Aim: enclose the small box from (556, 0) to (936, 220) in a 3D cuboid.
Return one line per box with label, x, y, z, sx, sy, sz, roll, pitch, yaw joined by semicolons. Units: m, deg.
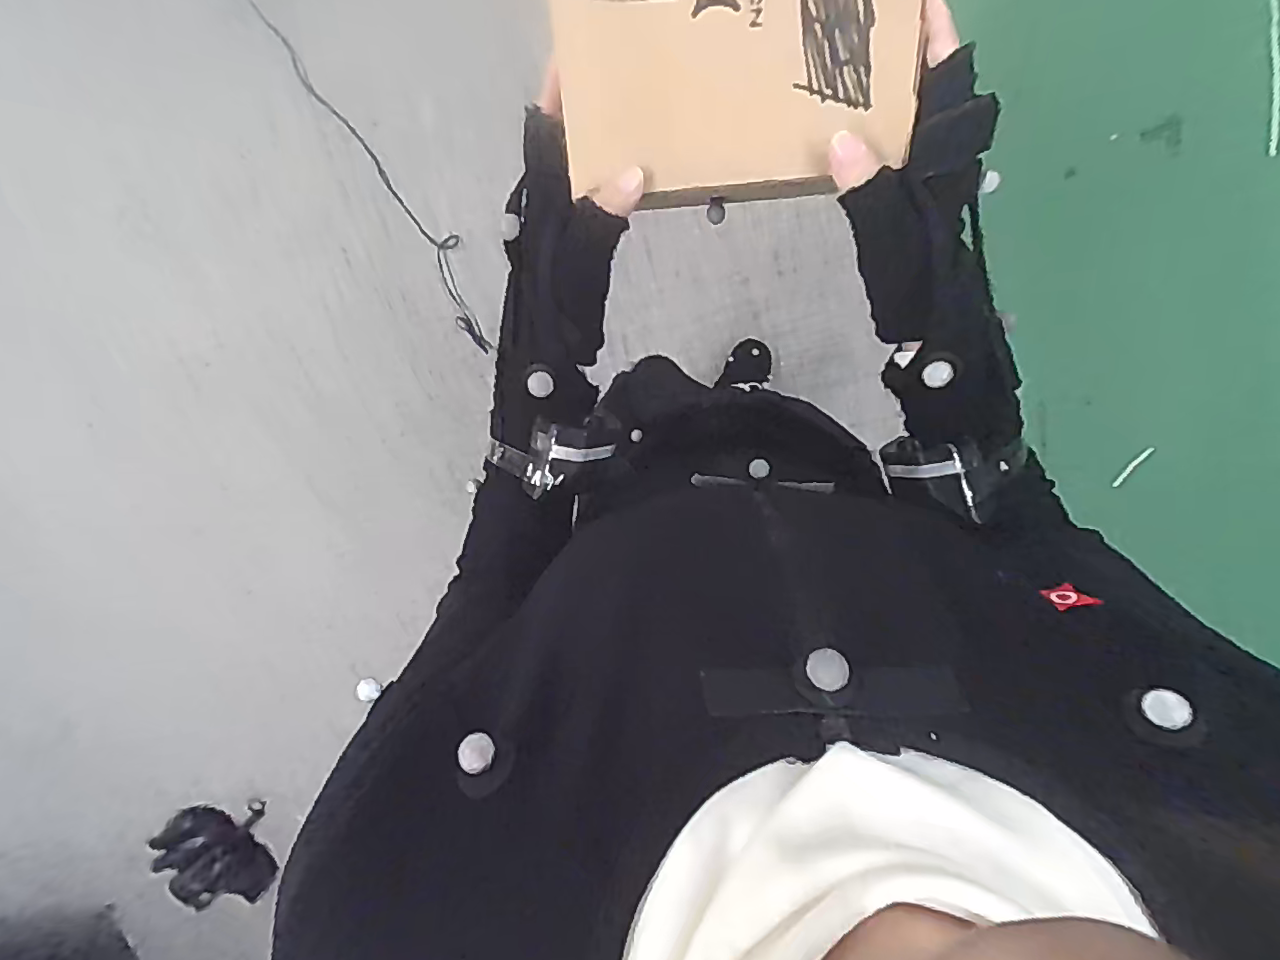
small box;0.052;-0.257;0.321;0.179;0.176;0.168;-5;114;7
